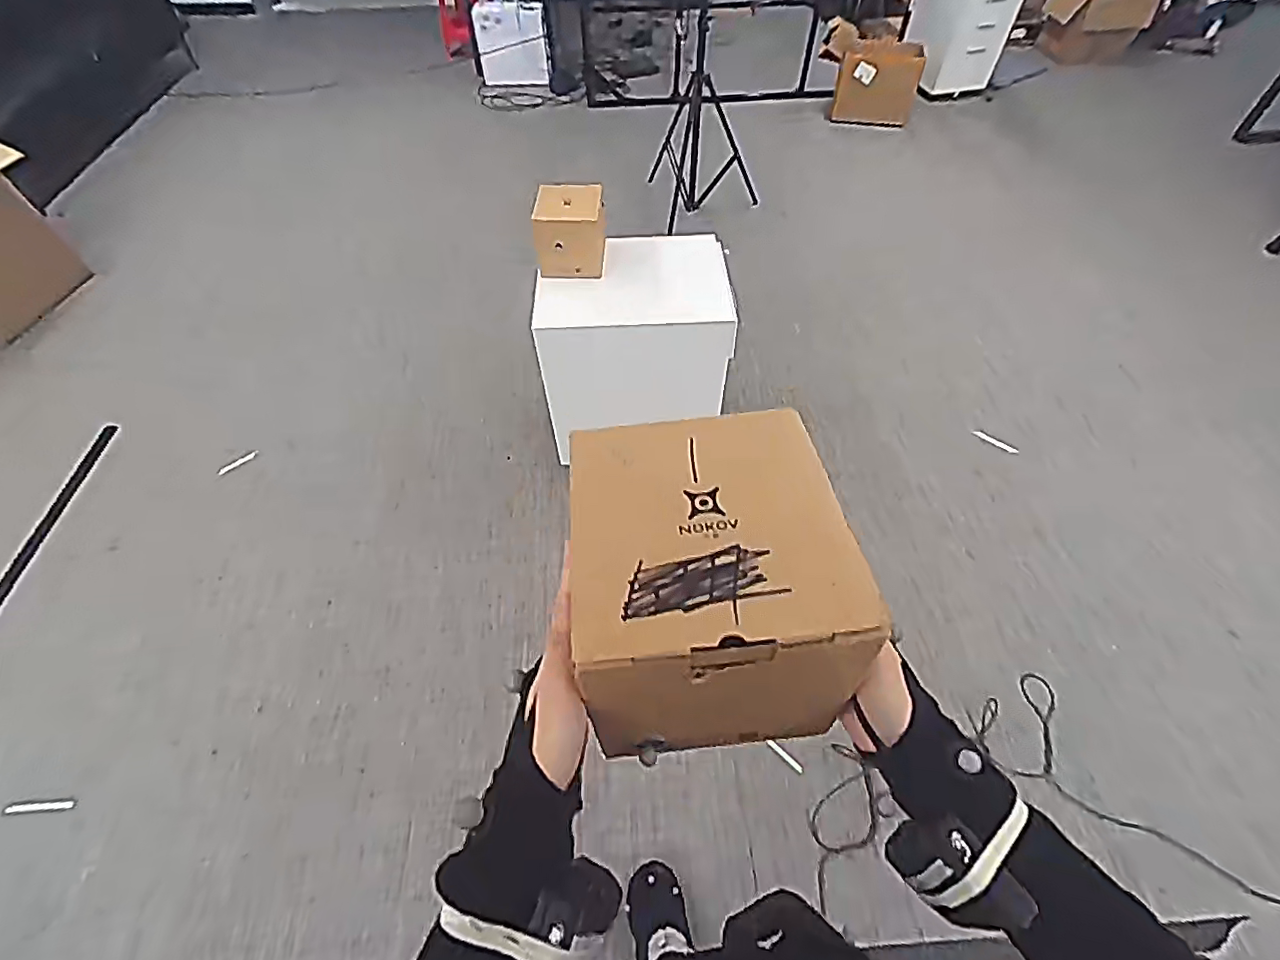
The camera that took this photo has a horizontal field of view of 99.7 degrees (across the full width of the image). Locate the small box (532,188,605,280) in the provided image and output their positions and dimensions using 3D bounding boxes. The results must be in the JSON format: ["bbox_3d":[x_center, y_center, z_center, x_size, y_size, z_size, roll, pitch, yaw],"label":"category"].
[{"bbox_3d":[-0.183,-0.651,1.441,0.168,0.176,0.179,1,54,1],"label":"small box"}]
